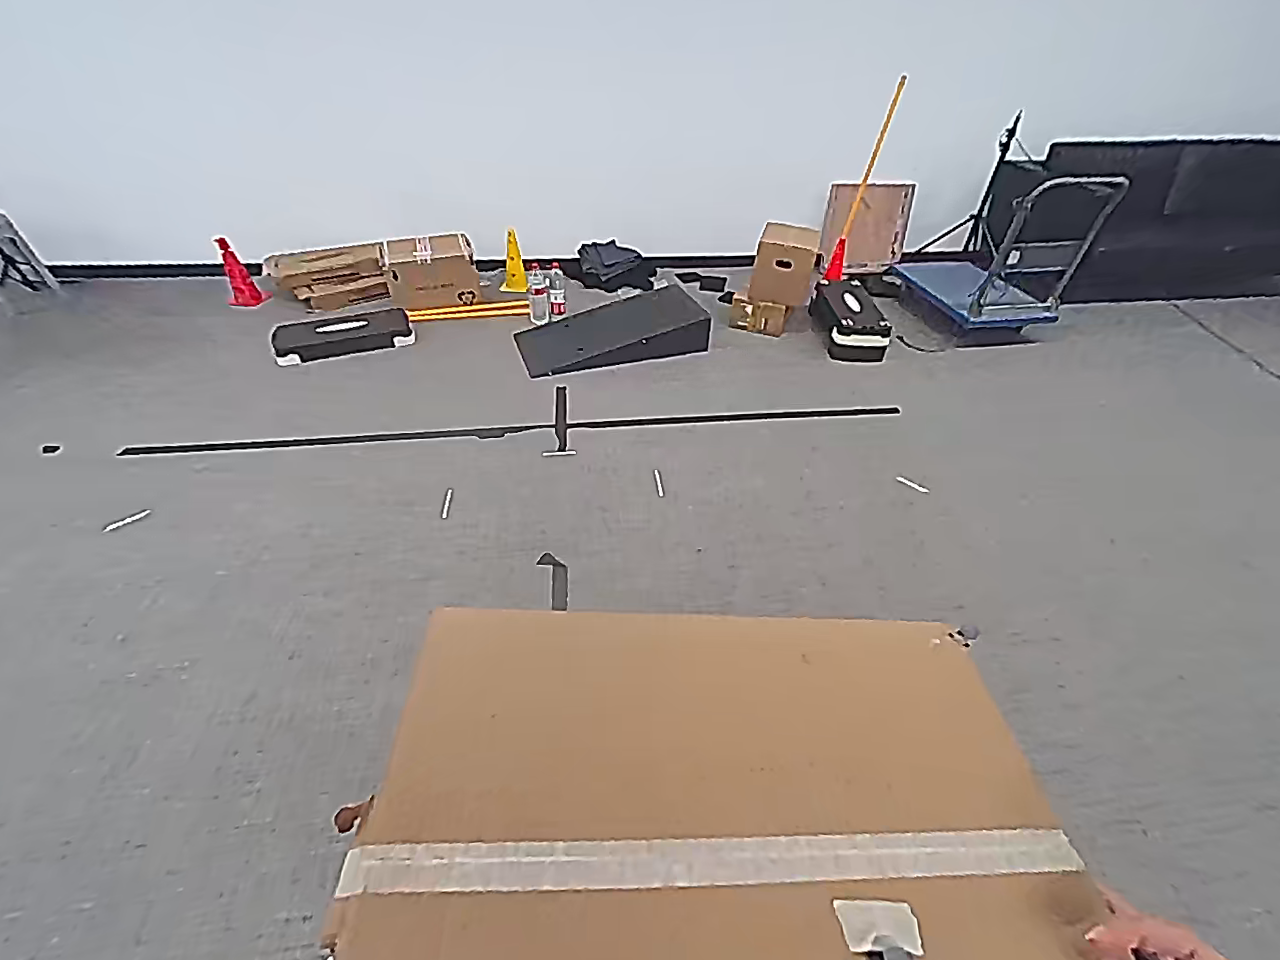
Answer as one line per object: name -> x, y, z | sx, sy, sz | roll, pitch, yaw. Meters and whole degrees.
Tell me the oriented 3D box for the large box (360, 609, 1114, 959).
large box -> 0.038, 0.319, 0.414 | 0.408, 0.320, 0.320 | 4, 44, -7
